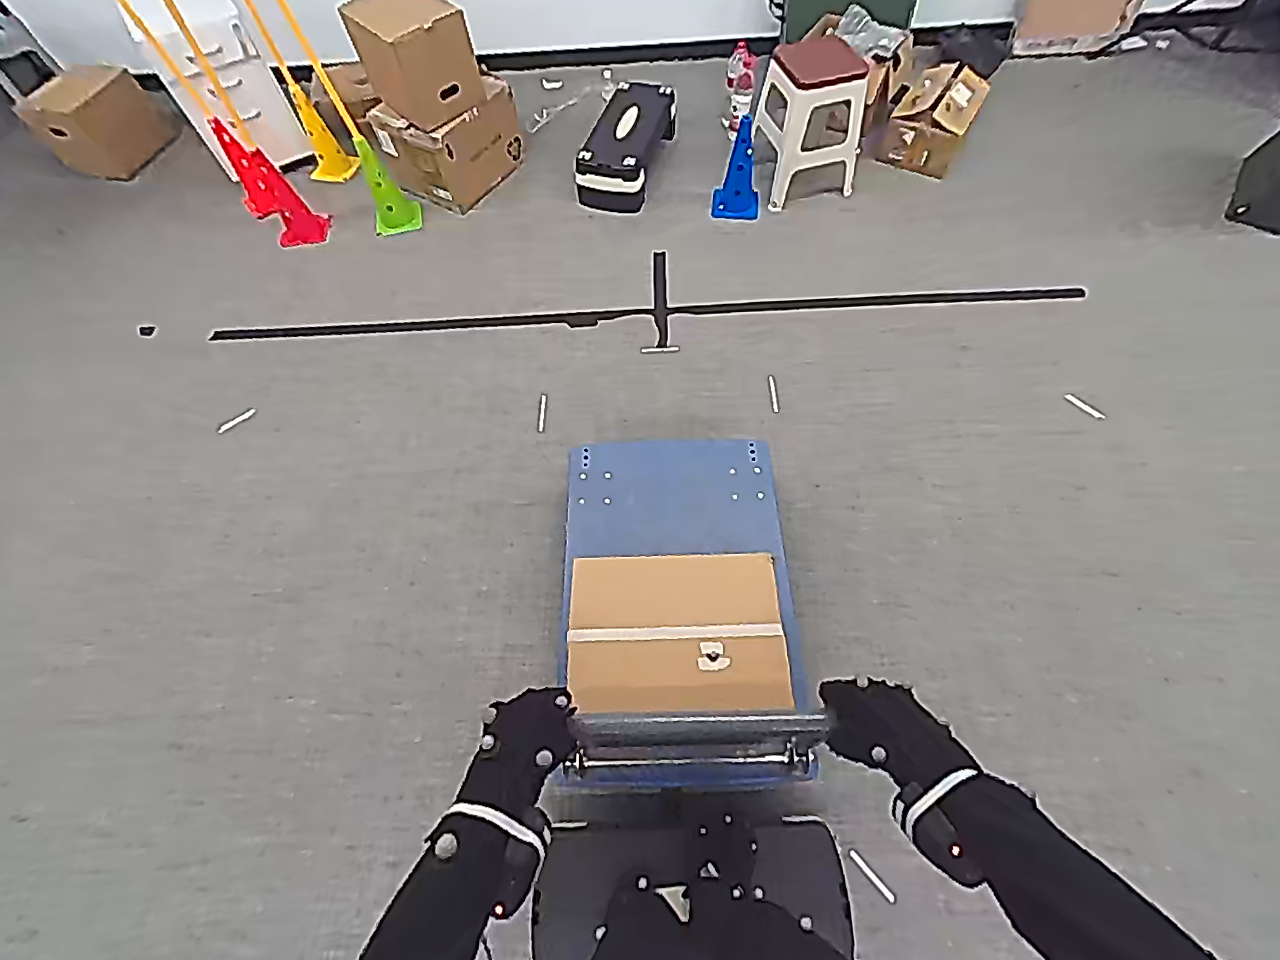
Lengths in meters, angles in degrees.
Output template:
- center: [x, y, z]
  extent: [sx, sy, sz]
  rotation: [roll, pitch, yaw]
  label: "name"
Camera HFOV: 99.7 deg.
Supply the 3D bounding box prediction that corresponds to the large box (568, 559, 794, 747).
- center: [0.069, 0.373, 1.139]
  extent: [0.408, 0.320, 0.320]
  rotation: [-2, 61, 1]
  label: "large box"
